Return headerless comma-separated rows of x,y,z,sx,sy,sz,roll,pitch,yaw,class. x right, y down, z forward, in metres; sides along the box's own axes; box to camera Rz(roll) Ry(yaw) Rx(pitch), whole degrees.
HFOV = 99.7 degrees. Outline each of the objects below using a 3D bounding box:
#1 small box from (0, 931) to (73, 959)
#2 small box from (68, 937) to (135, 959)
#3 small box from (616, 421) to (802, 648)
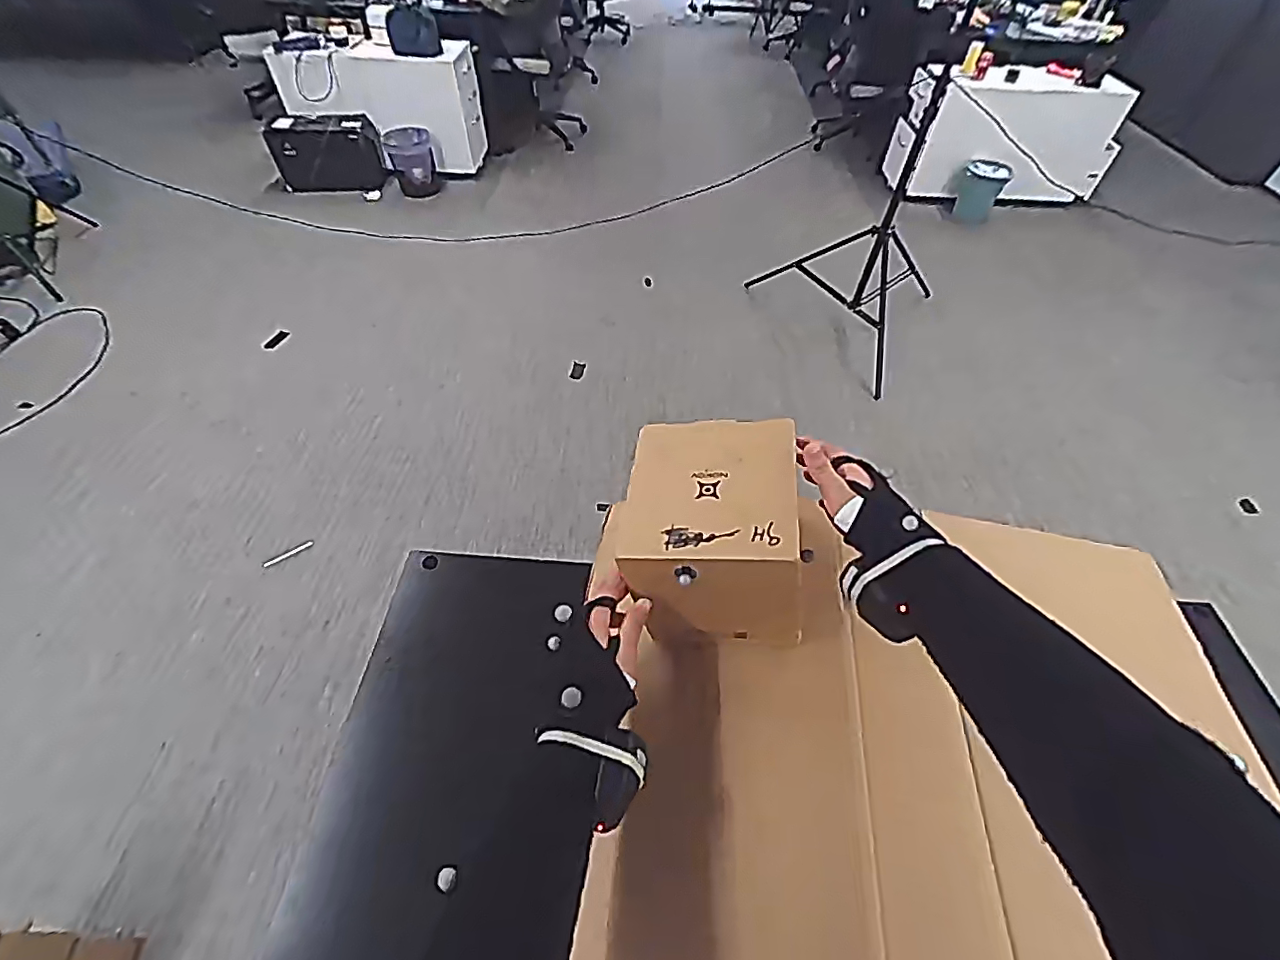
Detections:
-1.066,0.821,0.840,0.168,0.176,0.179,-1,49,-5,small box
-1.069,0.929,0.962,0.168,0.176,0.179,0,51,-2,small box
0.086,0.058,0.582,0.168,0.176,0.179,-2,48,16,small box
